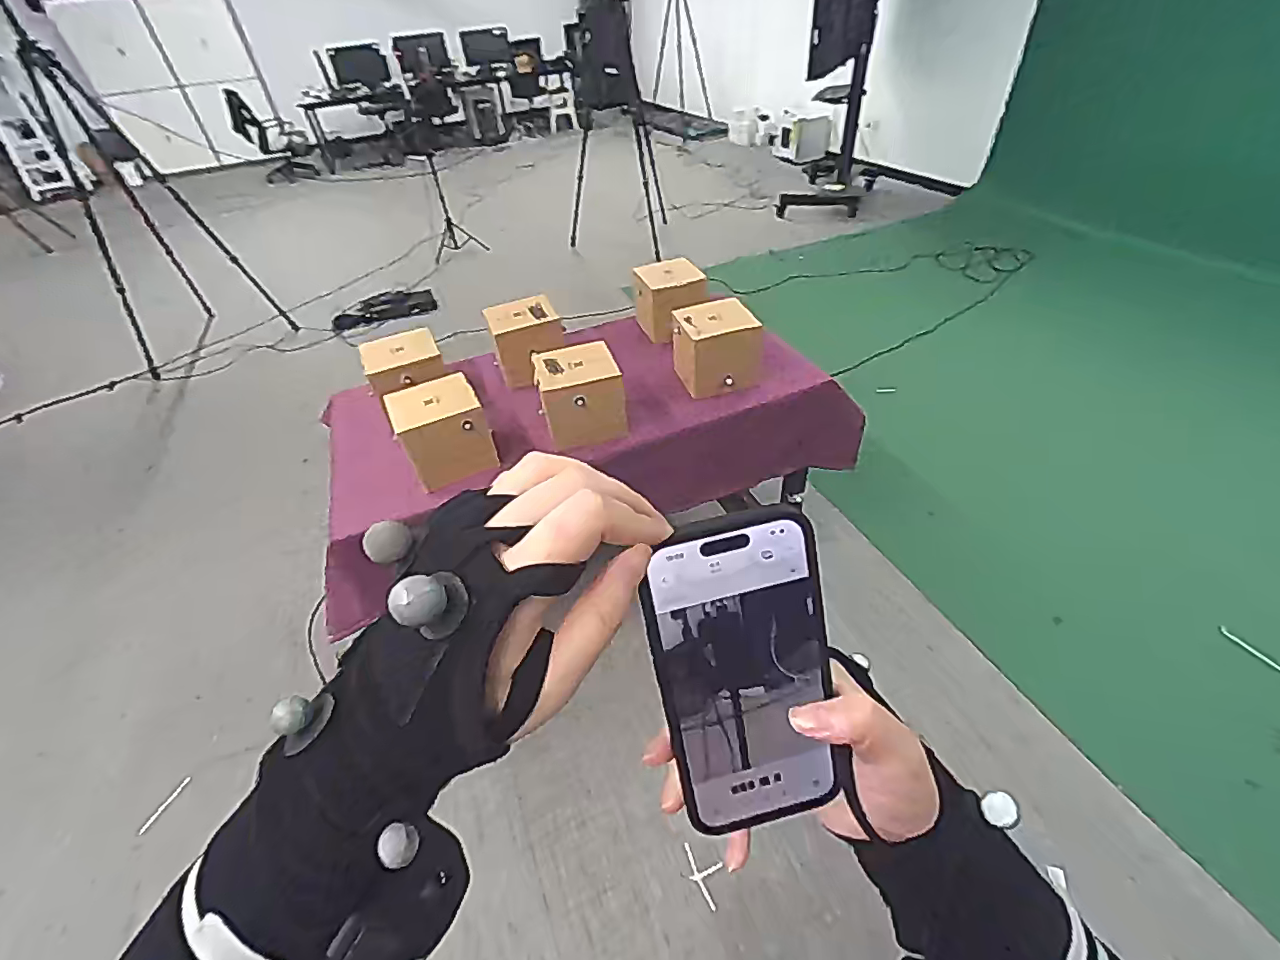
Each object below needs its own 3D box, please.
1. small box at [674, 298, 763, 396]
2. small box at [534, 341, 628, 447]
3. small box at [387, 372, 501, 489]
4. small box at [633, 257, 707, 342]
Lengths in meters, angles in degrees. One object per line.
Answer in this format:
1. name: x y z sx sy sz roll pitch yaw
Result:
1. small box: 0.192 -0.335 1.364 0.179 0.176 0.168 -14 43 -9
2. small box: -0.135 -0.198 1.255 0.179 0.176 0.168 -14 43 -10
3. small box: -0.429 -0.107 1.193 0.179 0.176 0.168 -22 45 -18
4. small box: 0.087 -0.530 1.586 0.168 0.176 0.179 -17 45 -10
